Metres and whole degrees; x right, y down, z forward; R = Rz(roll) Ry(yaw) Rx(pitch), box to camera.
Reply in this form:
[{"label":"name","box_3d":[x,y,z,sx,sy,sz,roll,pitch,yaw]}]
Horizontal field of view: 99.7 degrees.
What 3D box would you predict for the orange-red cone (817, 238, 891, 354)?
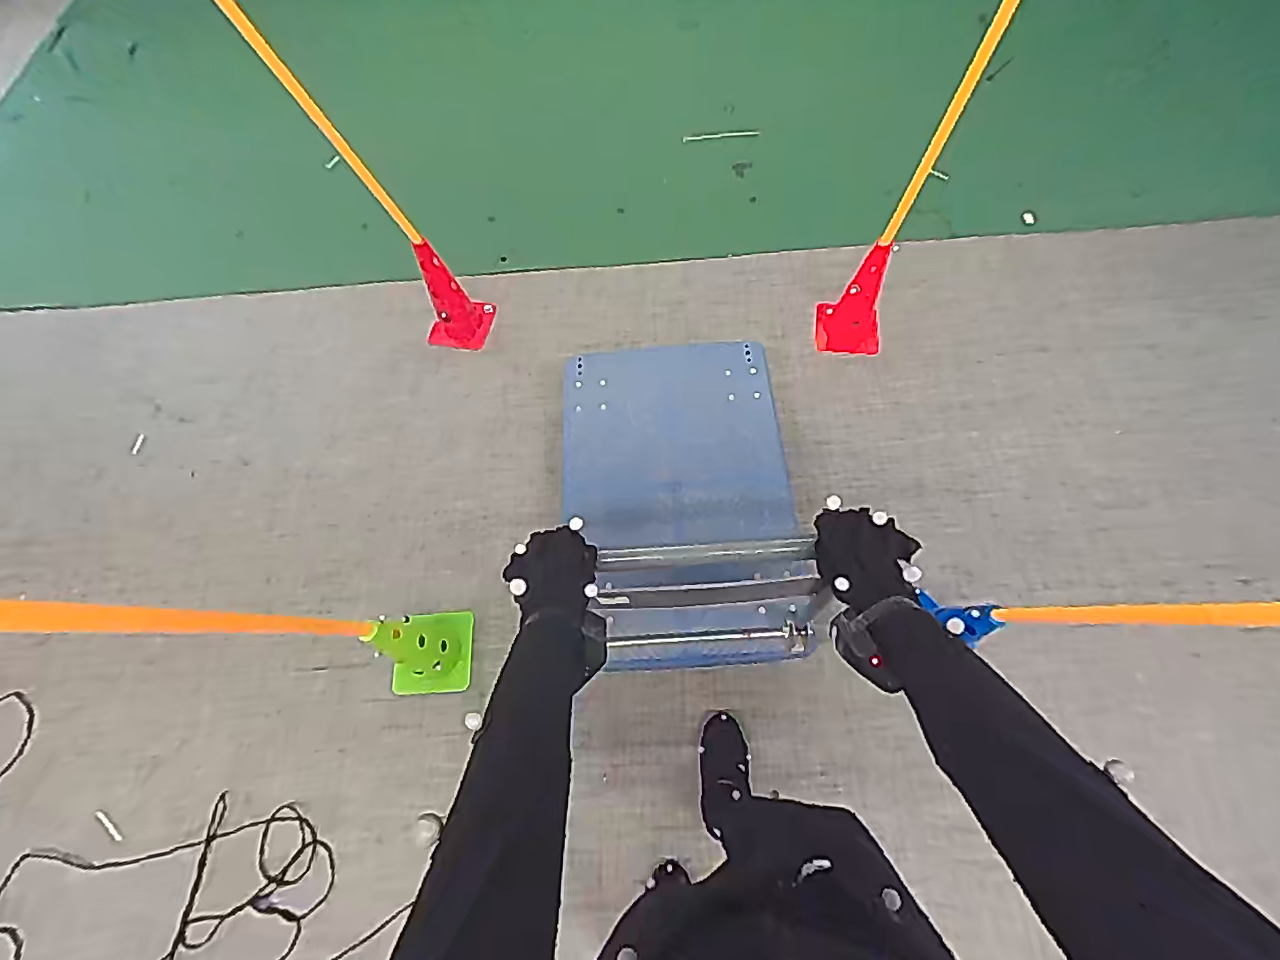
[{"label":"orange-red cone","box_3d":[0.665,-0.560,1.599,0.198,0.360,0.199,6,67,7]}]
